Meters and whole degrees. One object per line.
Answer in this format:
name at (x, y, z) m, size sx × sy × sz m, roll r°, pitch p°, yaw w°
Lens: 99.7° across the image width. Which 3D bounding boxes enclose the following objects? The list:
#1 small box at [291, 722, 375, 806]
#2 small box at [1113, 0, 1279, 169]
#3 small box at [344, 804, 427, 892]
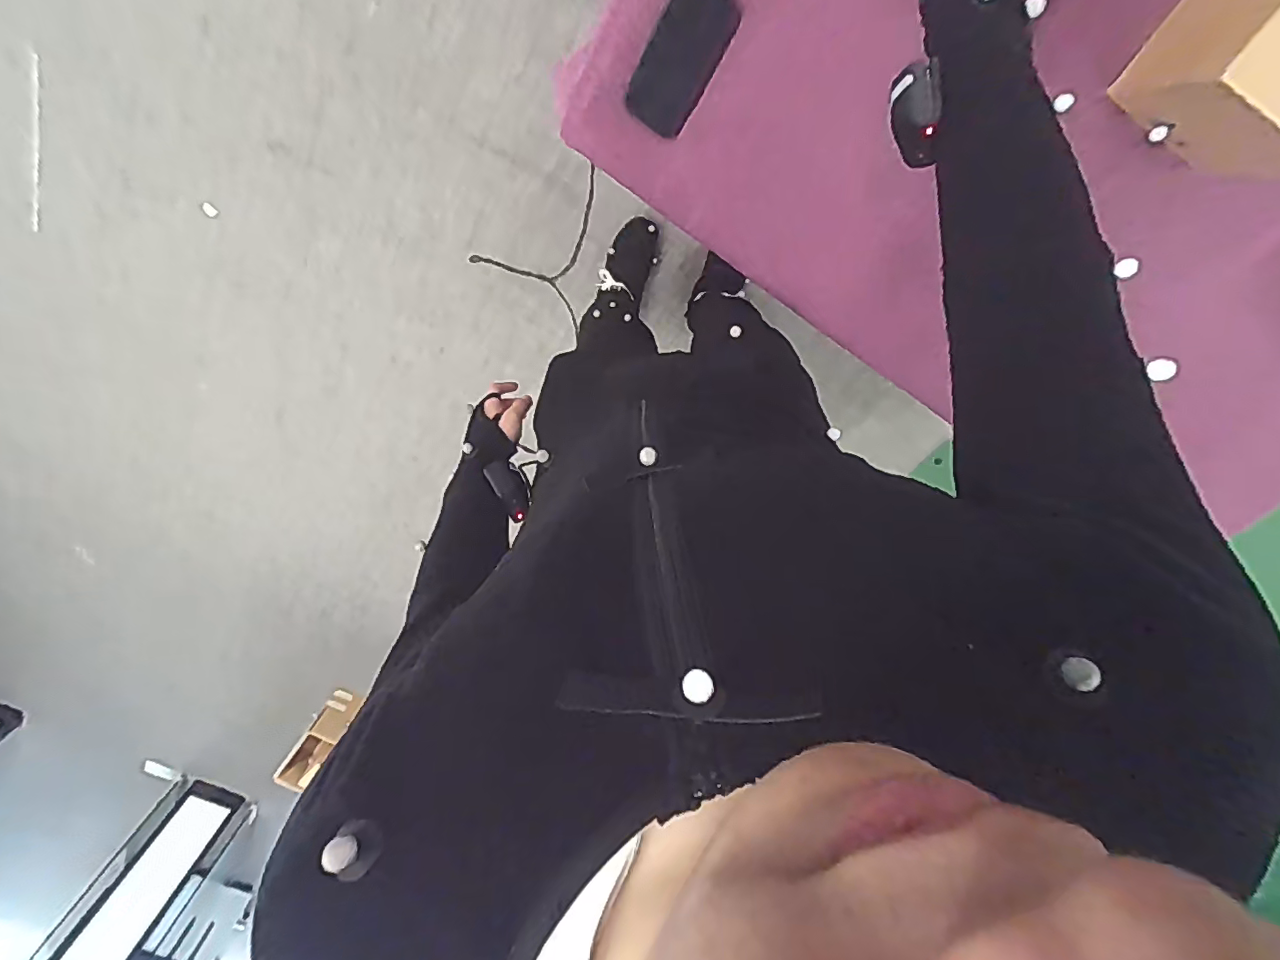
small box at (-1.056, 0.981, 1.873) m, size 0.168 × 0.176 × 0.179 m, roll 38°, pitch 116°, yaw -15°
small box at (0.626, -0.427, 0.513) m, size 0.168 × 0.176 × 0.179 m, roll 28°, pitch 120°, yaw -10°
small box at (-0.840, 1.225, 1.802) m, size 0.168 × 0.176 × 0.179 m, roll 33°, pitch 118°, yaw -14°
